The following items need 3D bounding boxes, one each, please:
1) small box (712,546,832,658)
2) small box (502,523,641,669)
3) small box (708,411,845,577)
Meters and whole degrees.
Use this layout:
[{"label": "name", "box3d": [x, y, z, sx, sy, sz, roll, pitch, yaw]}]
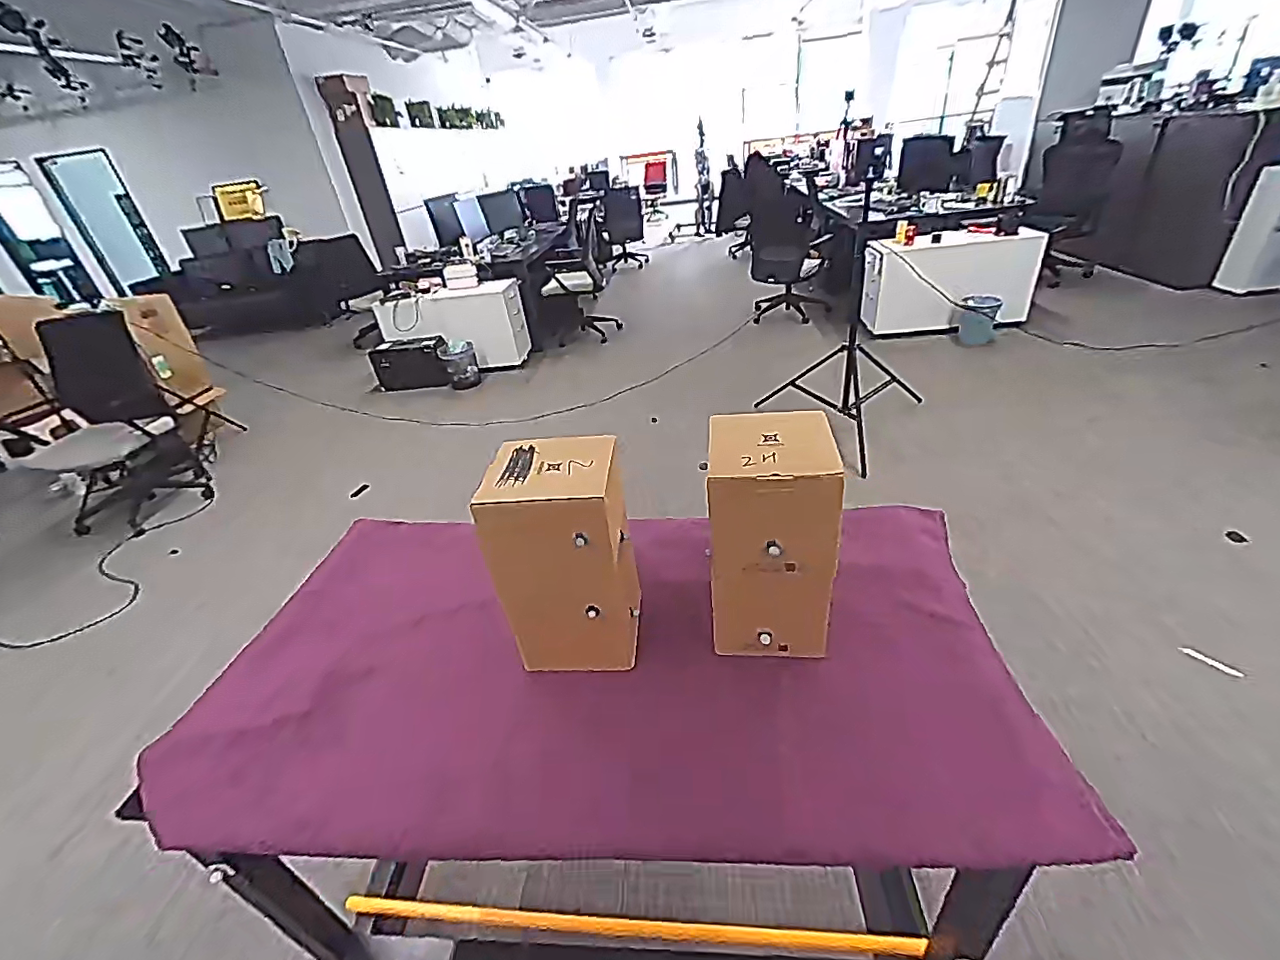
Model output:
[{"label": "small box", "box3d": [0.201, 0.155, 0.857, 0.168, 0.176, 0.179, -2, 33, 10]}, {"label": "small box", "box3d": [-0.099, 0.188, 0.874, 0.179, 0.176, 0.168, -3, 32, 7]}, {"label": "small box", "box3d": [0.185, 0.016, 0.768, 0.168, 0.176, 0.179, -2, 33, 10]}]
